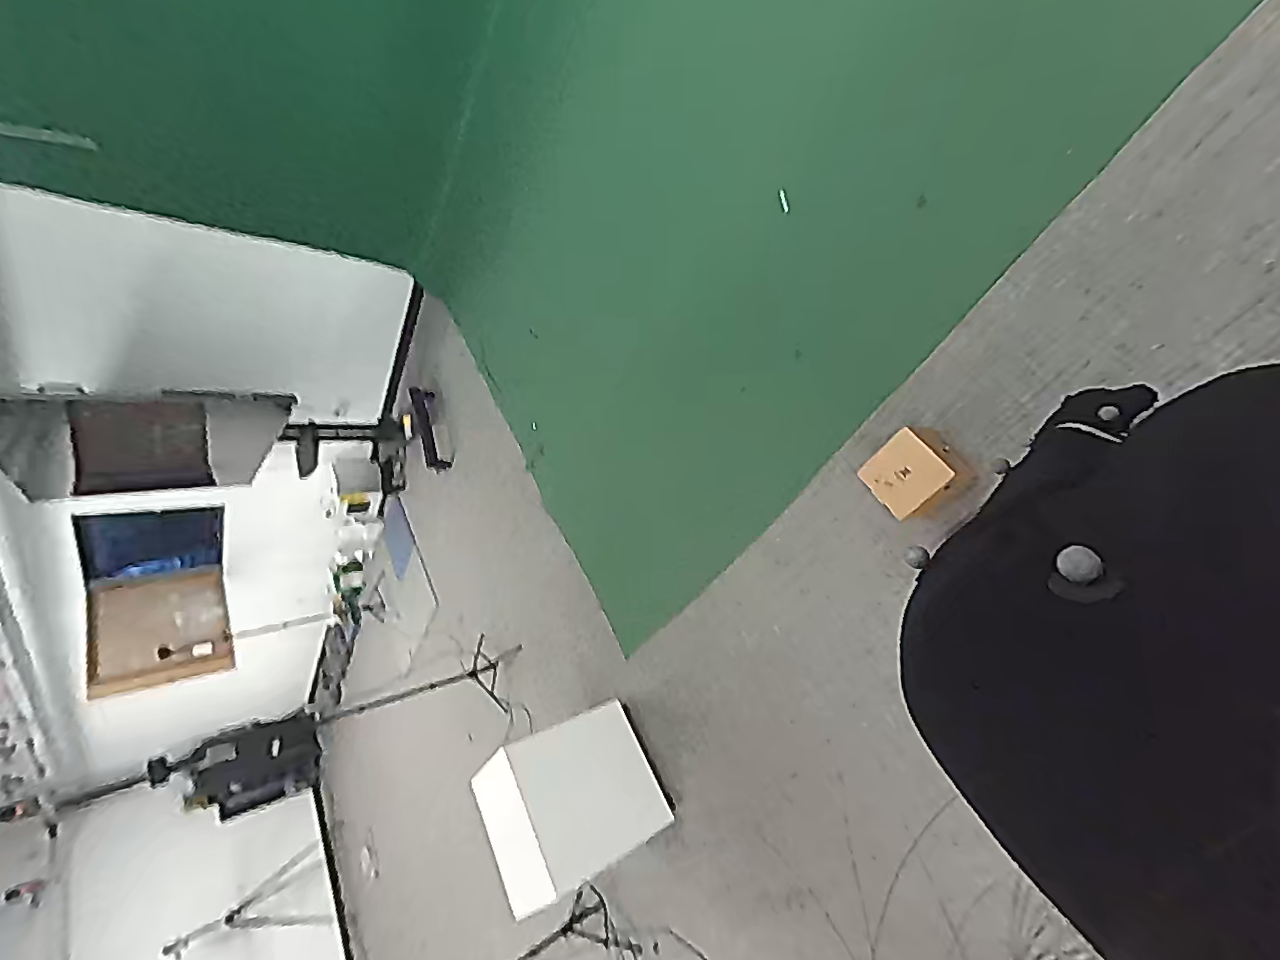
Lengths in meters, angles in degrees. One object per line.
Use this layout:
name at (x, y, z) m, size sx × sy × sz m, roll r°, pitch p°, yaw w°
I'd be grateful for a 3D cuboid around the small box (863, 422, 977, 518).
small box at (0.713, -0.028, 1.364) m, size 0.168 × 0.176 × 0.179 m, roll 57°, pitch 130°, yaw 29°
